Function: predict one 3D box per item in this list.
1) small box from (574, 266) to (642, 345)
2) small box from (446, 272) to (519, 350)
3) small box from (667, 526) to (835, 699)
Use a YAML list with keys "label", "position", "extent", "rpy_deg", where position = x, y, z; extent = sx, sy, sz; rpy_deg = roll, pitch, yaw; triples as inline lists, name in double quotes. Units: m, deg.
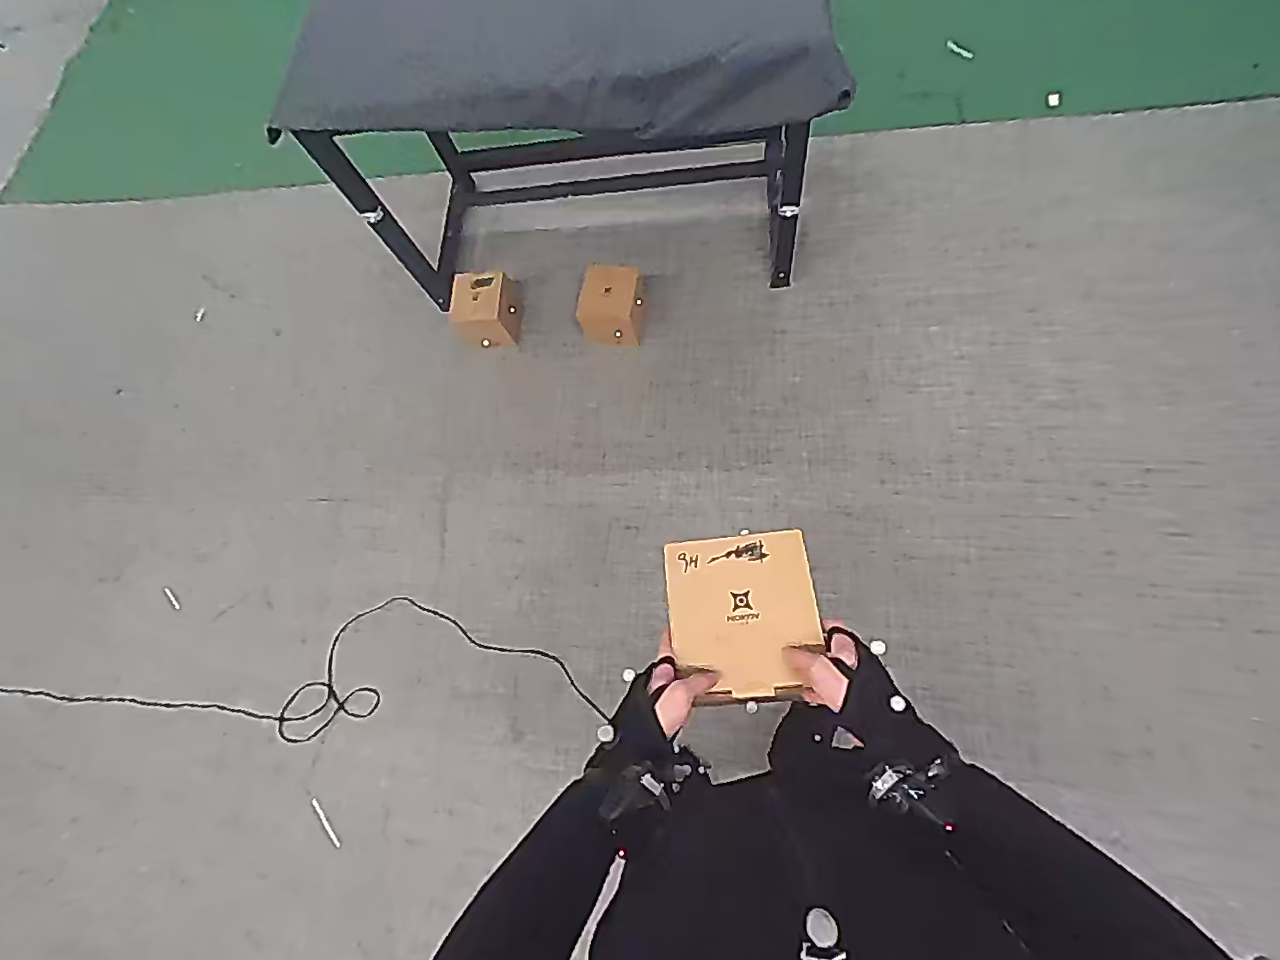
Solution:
- label: "small box"
  position: [-0.093, -0.535, 1.675]
  extent: [0.168, 0.176, 0.179]
  rpy_deg: [5, 72, 10]
- label: "small box"
  position: [-0.501, -0.541, 1.745]
  extent: [0.168, 0.176, 0.179]
  rpy_deg: [-1, 73, 10]
- label: "small box"
  position: [0.130, 0.173, 0.668]
  extent: [0.168, 0.176, 0.179]
  rpy_deg: [-8, 64, 7]
